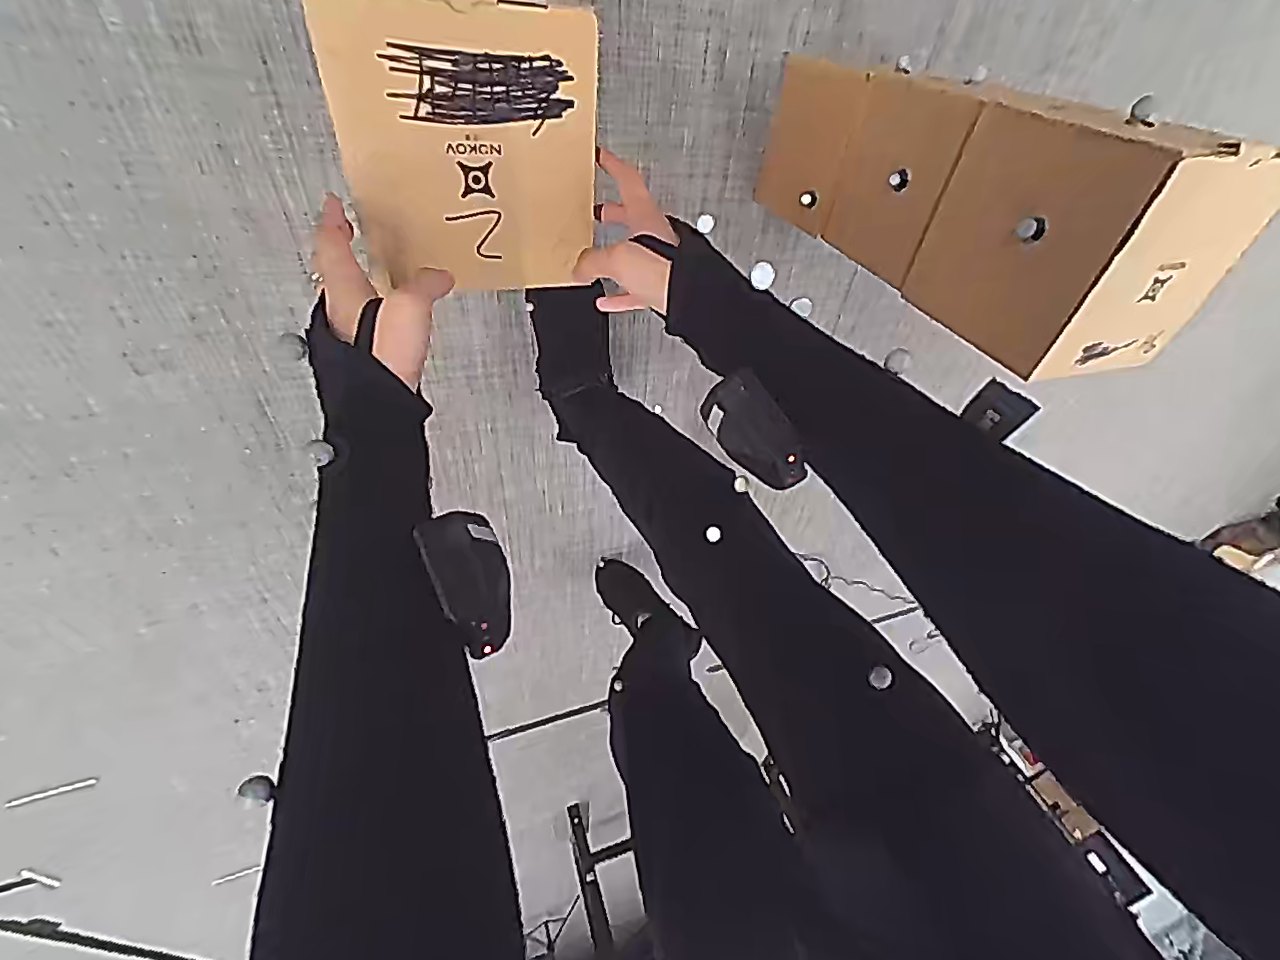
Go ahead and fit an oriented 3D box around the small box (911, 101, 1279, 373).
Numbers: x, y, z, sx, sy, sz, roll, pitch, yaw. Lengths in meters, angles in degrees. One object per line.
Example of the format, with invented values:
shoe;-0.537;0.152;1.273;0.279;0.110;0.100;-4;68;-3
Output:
small box;0.384;-0.219;0.482;0.168;0.176;0.179;-9;135;-18

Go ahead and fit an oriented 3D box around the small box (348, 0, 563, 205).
small box;-0.176;-0.390;0.528;0.168;0.176;0.179;-11;135;-15

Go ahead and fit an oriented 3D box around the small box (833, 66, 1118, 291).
small box;0.343;-0.329;0.597;0.168;0.176;0.179;-9;135;-19

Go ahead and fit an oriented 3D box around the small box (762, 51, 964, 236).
small box;0.282;-0.437;0.706;0.168;0.176;0.179;-9;136;-19
